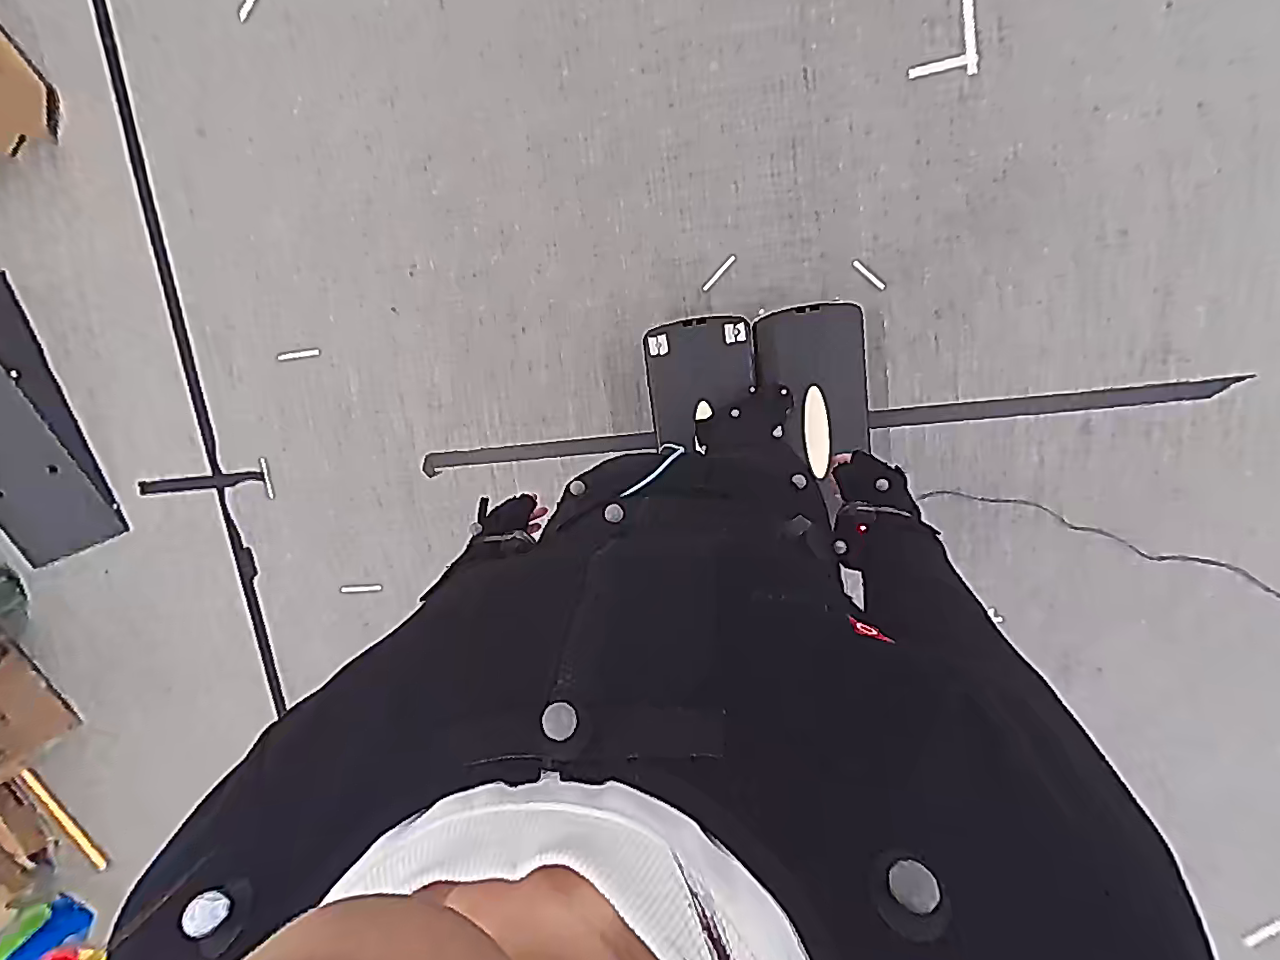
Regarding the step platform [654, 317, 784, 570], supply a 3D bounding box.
[{"bbox_3d":[0.222,-0.094,1.496,0.286,0.204,0.684,-7,98,10],"label":"step platform"}]
